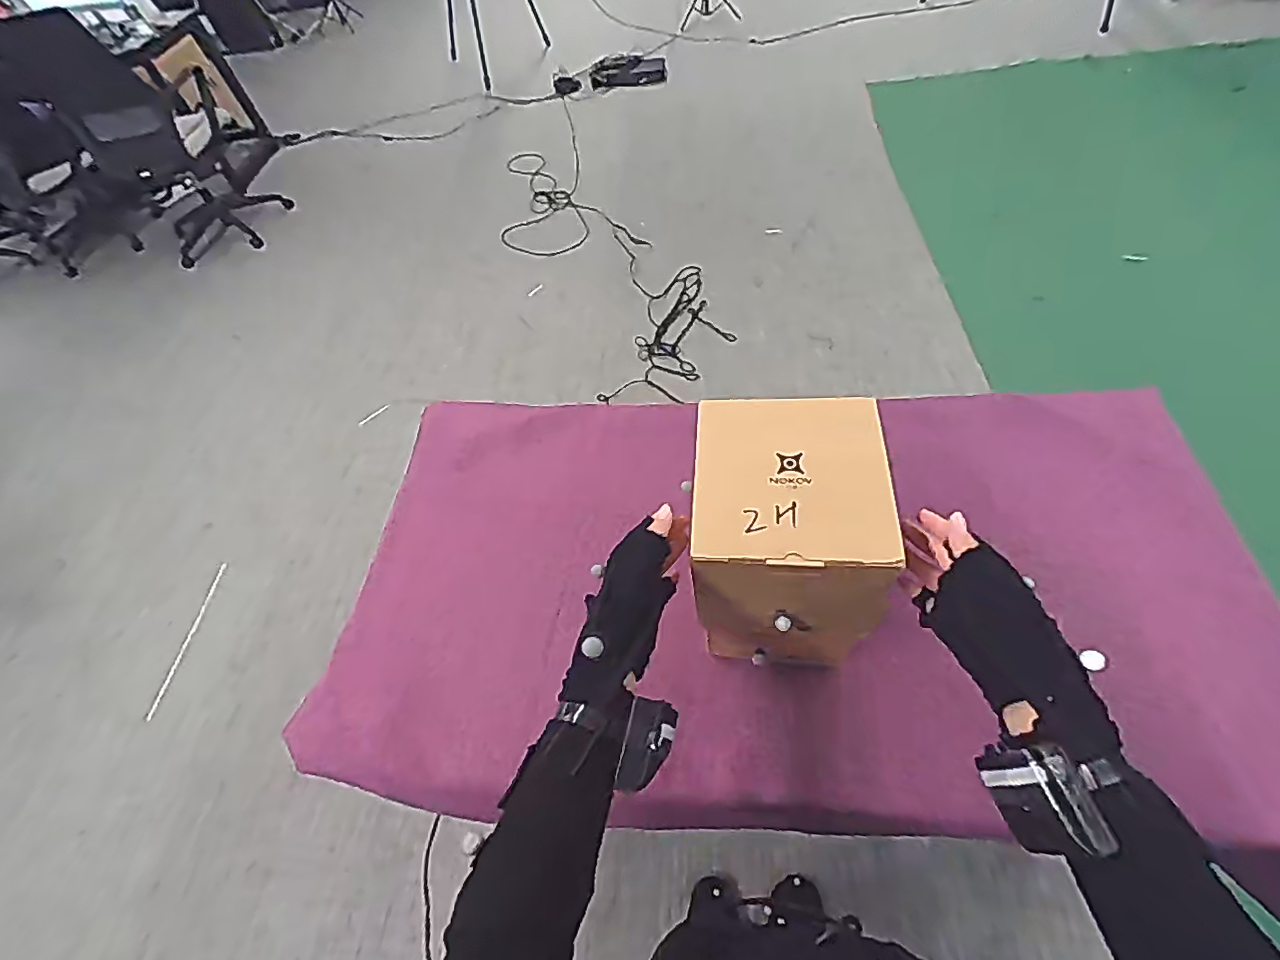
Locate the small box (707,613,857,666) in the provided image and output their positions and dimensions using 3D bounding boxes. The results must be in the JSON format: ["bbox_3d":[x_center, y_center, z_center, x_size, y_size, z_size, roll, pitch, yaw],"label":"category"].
[{"bbox_3d":[0.172,0.117,0.683,0.168,0.176,0.179,2,57,11],"label":"small box"}]

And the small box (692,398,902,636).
[{"bbox_3d":[0.144,0.038,0.541,0.168,0.176,0.179,1,56,11],"label":"small box"}]
